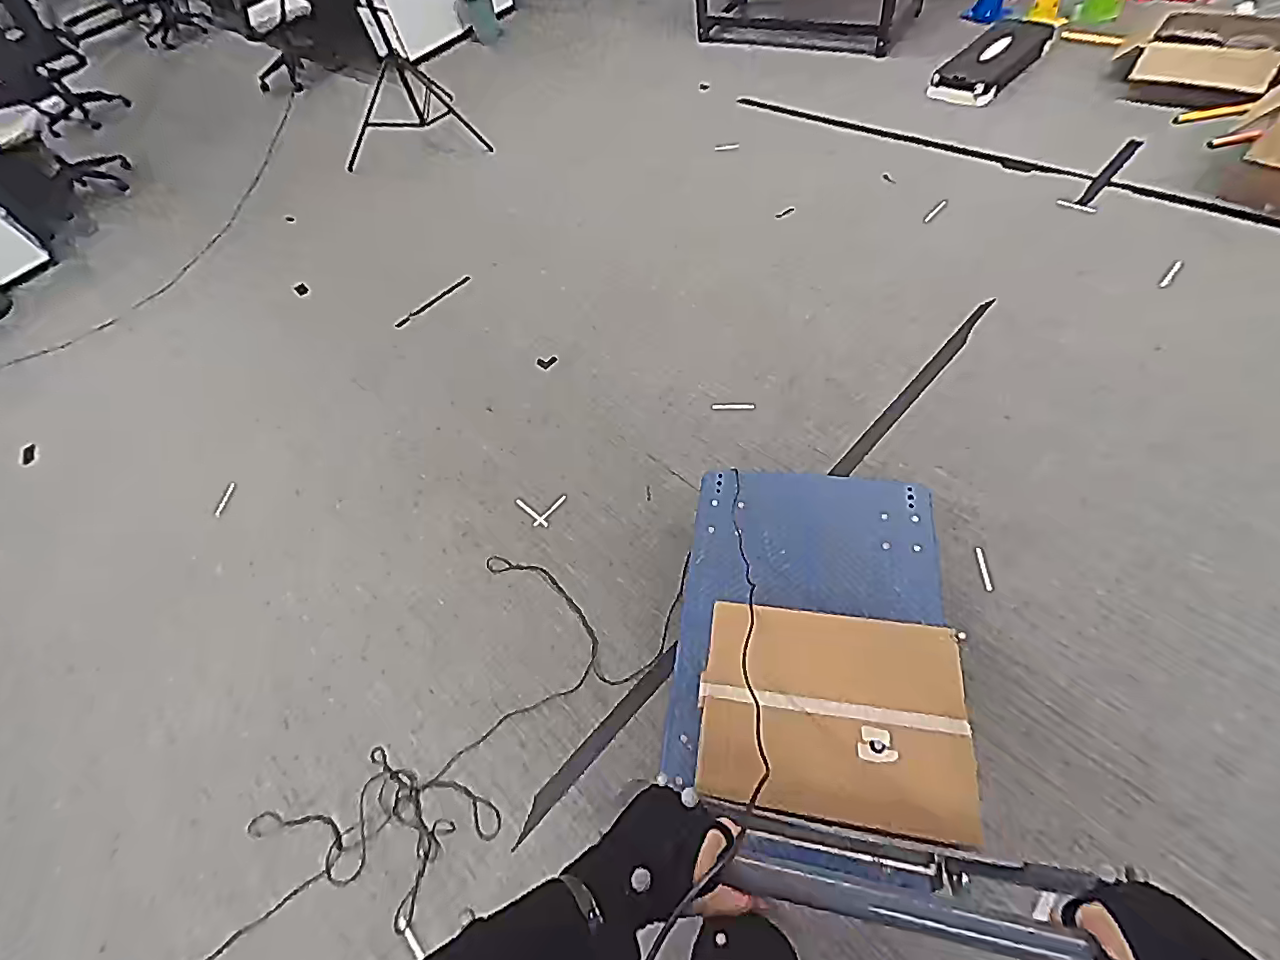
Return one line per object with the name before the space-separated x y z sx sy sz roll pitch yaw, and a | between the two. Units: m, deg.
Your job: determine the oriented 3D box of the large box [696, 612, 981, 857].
large box | 0.321 0.459 0.982 0.408 0.320 0.320 4 59 12
